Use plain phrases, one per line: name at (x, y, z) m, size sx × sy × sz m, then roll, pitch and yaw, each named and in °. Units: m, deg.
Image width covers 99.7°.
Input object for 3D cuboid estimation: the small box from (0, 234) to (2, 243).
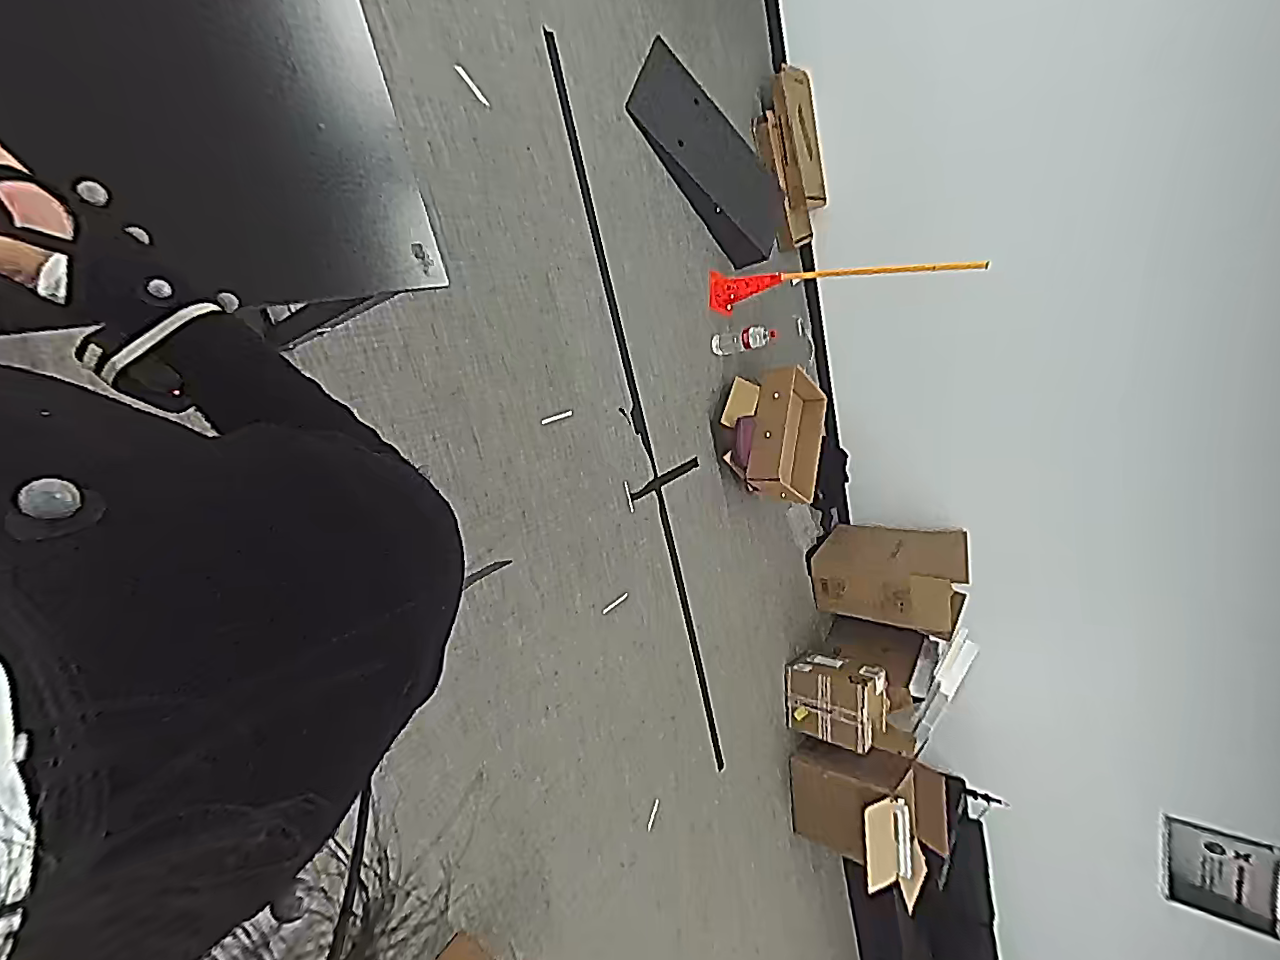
small box at (-0.542, -0.214, 0.323) m, size 0.179 × 0.176 × 0.168 m, roll -24°, pitch 114°, yaw -48°
